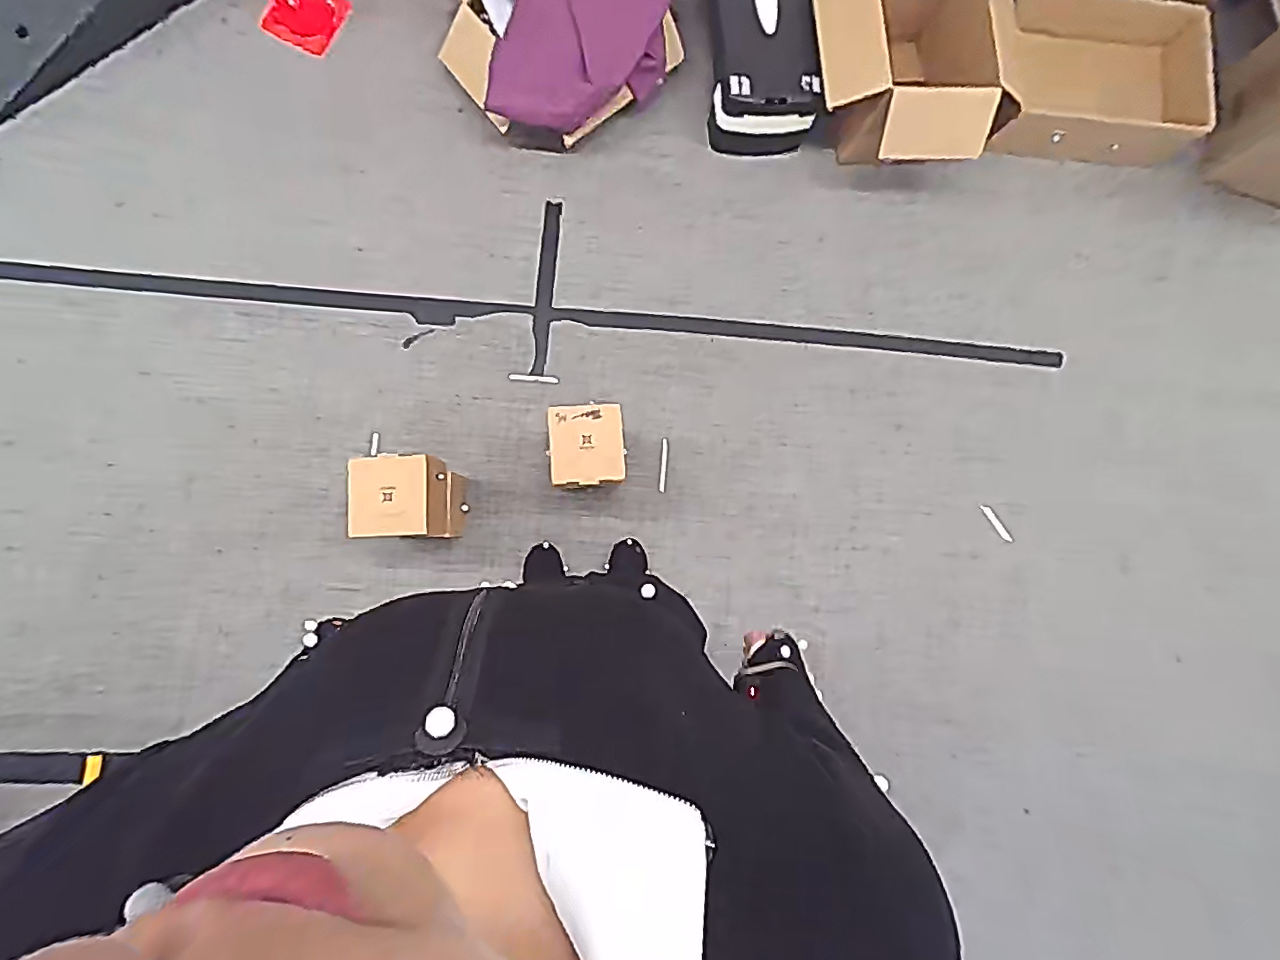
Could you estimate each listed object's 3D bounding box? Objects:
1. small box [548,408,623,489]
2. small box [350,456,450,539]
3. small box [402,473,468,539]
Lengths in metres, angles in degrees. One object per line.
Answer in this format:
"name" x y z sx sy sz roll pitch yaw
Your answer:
"small box" -0.126 -0.068 1.286 0.168 0.176 0.179 -3 86 -5
"small box" -0.543 0.043 1.240 0.168 0.176 0.179 -2 86 -4
"small box" -0.557 0.069 1.400 0.179 0.176 0.168 1 85 -5
